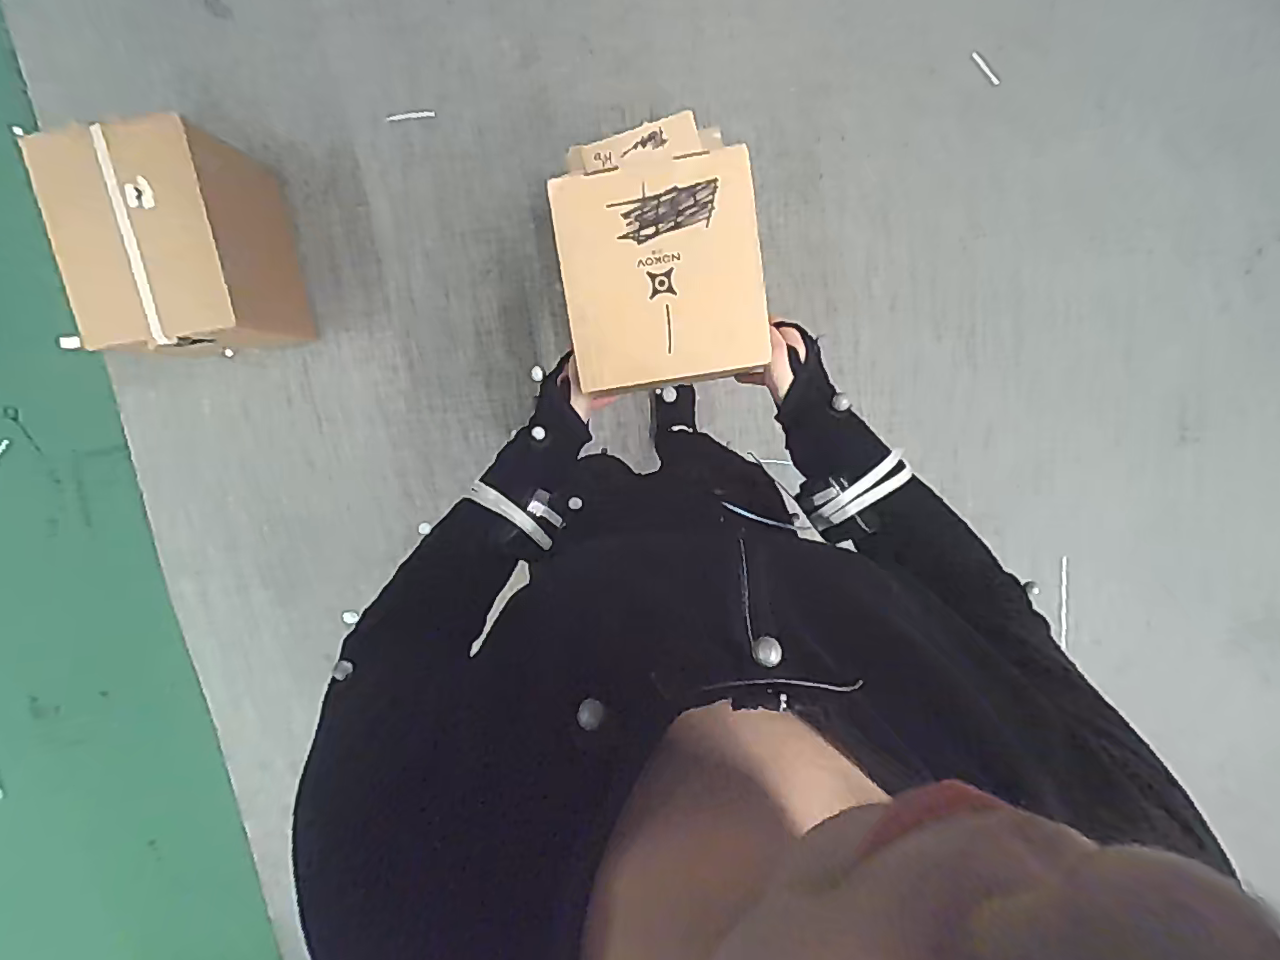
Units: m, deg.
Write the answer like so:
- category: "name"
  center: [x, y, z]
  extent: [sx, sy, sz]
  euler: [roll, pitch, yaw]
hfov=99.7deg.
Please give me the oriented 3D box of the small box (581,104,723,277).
- category: "small box"
  center: [0.019, -0.432, 0.844]
  extent: [0.168, 0.176, 0.179]
  euler: [-18, 101, 2]

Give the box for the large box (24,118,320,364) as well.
- category: "large box"
  center: [-0.993, -0.493, 1.205]
  extent: [0.320, 0.320, 0.408]
  euler: [-10, 99, 0]
